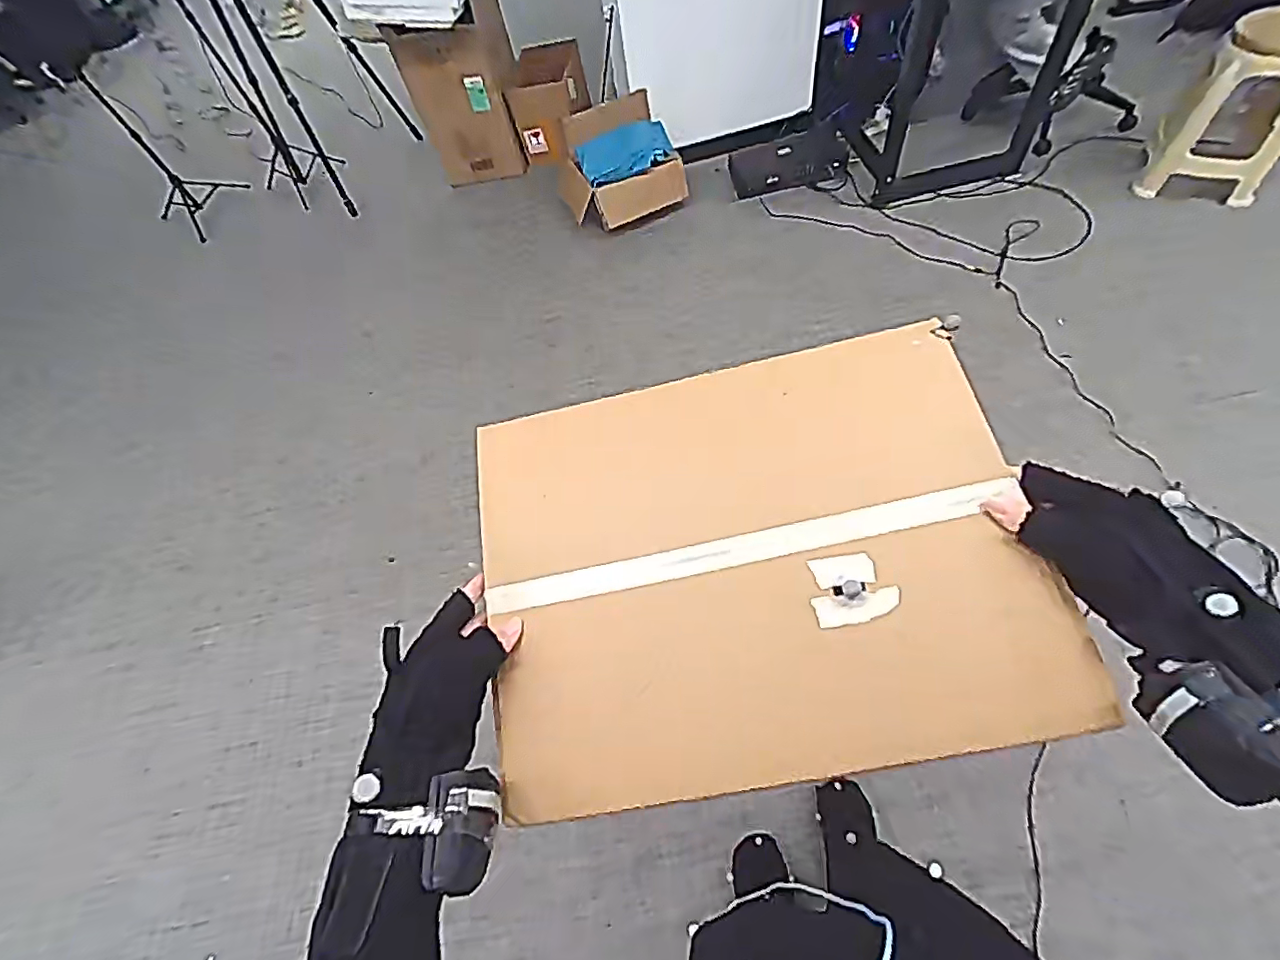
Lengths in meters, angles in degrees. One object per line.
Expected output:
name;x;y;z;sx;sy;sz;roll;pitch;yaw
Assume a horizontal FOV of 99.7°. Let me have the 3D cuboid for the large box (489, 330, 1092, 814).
large box;0.102;0.107;0.562;0.408;0.320;0.320;-13;68;5
